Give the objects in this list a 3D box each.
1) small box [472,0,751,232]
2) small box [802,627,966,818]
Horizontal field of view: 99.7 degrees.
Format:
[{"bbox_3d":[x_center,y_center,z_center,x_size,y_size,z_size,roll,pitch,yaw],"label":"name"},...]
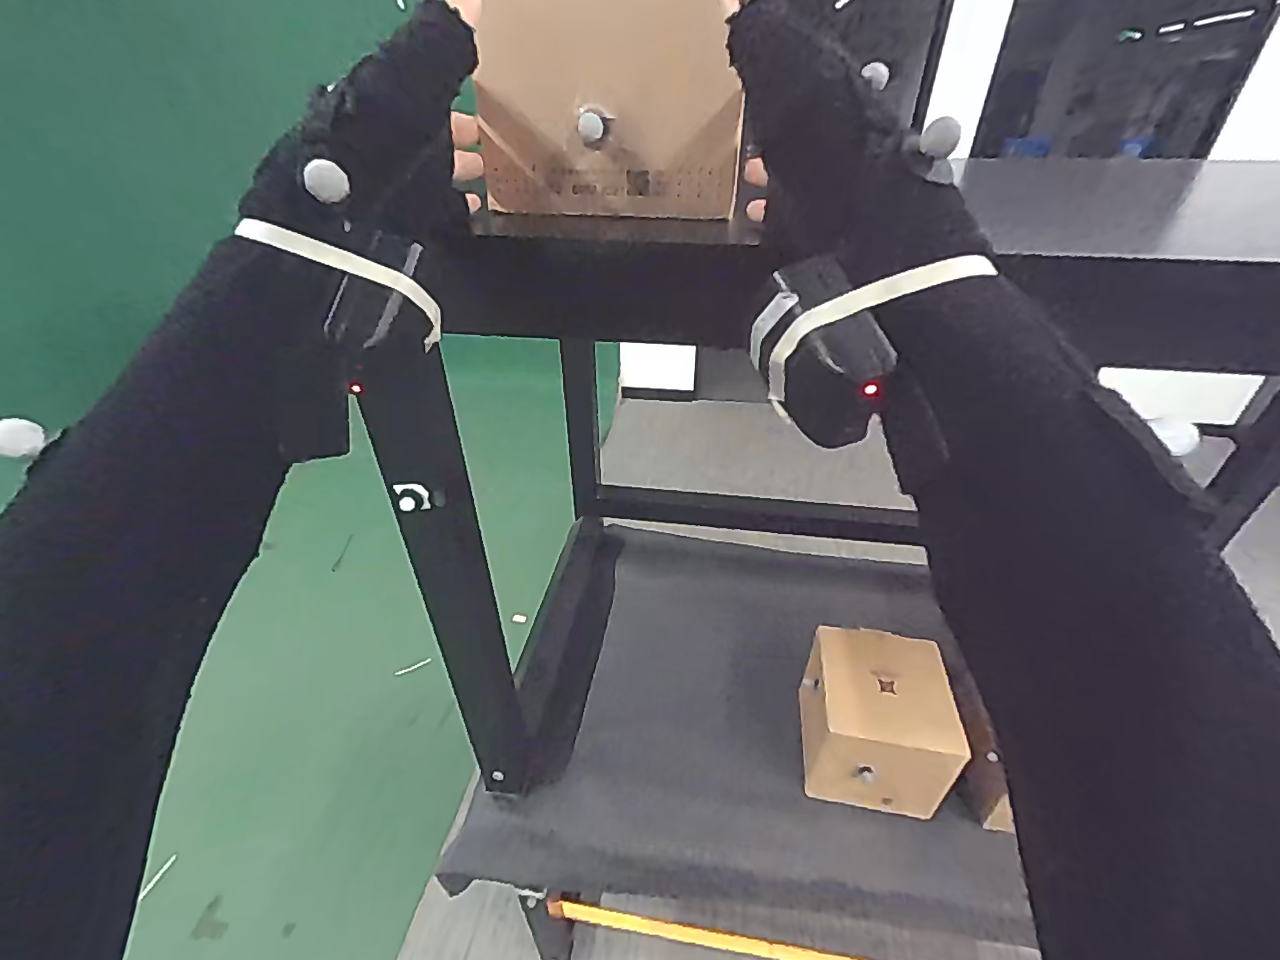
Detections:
[{"bbox_3d":[-0.010,-0.286,0.388,0.168,0.176,0.179,5,35,8],"label":"small box"},{"bbox_3d":[0.327,0.340,0.765,0.168,0.176,0.179,6,34,10],"label":"small box"}]
